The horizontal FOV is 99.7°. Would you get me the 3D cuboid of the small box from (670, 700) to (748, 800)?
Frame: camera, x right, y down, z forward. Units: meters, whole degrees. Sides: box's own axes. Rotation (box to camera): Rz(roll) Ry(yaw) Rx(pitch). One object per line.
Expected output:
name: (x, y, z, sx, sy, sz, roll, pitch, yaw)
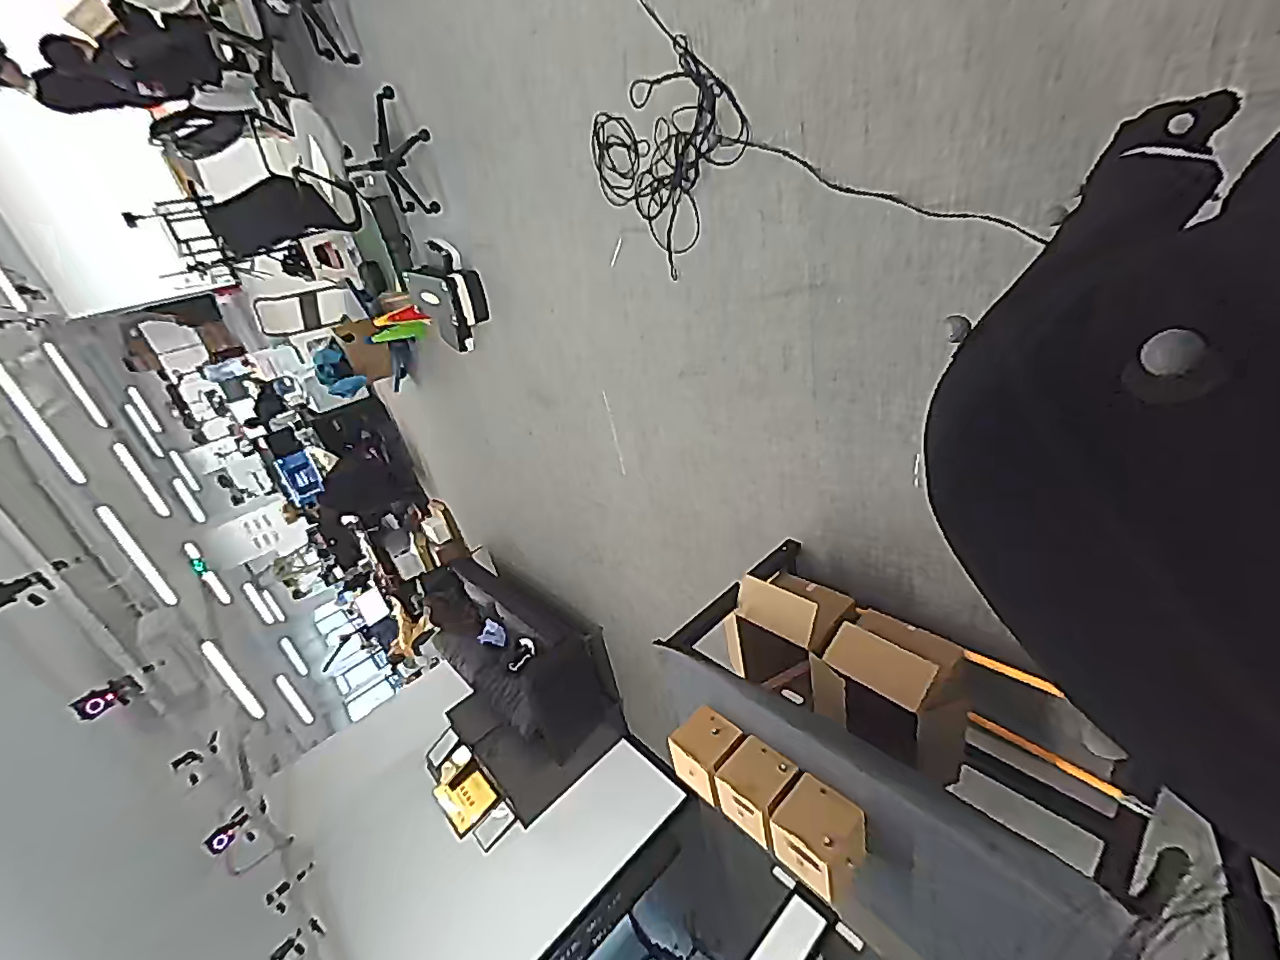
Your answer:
small box: (0.220, 0.831, 1.678, 0.168, 0.176, 0.179, 19, 131, 46)
